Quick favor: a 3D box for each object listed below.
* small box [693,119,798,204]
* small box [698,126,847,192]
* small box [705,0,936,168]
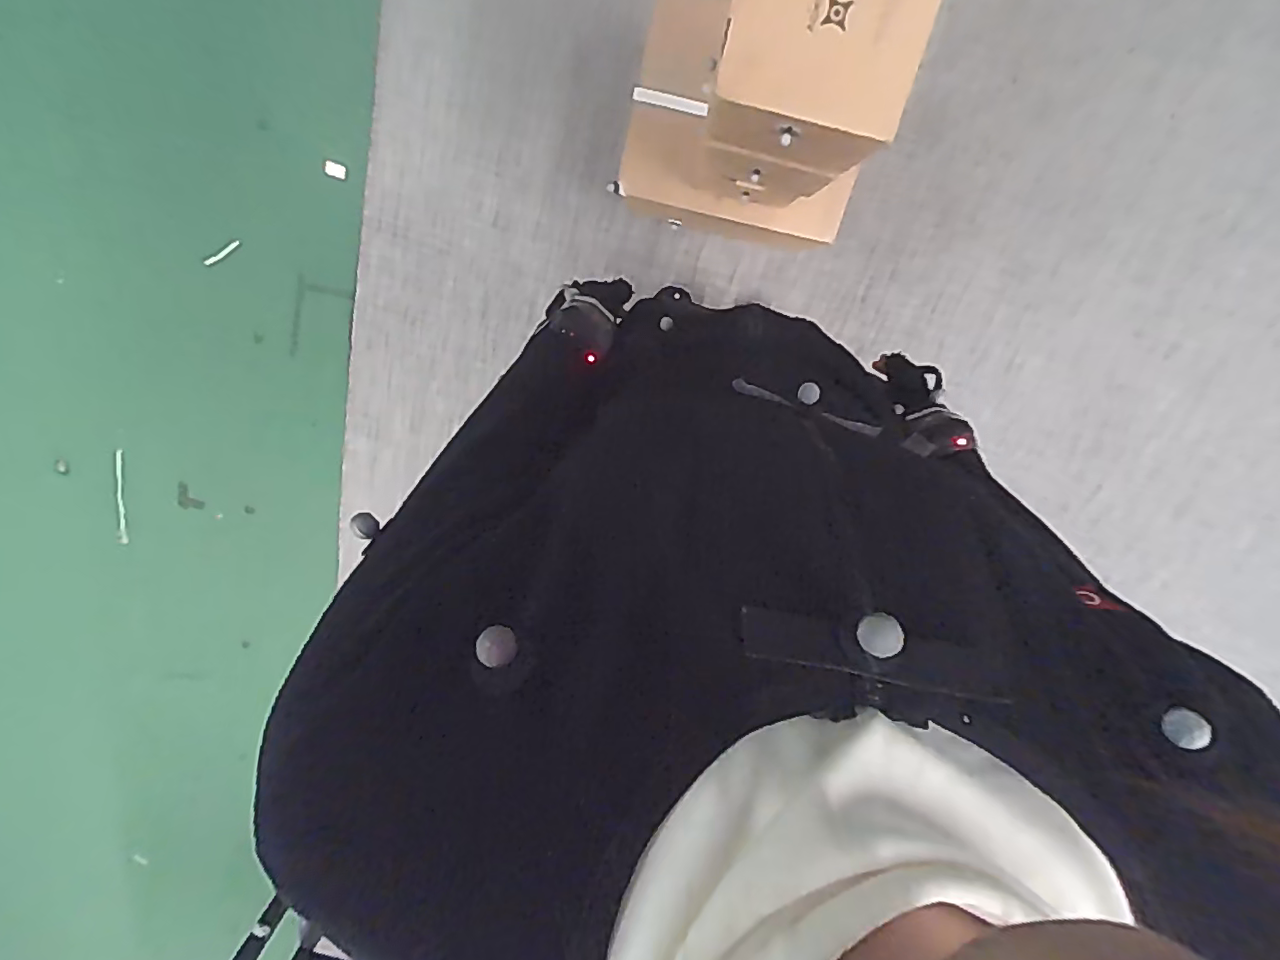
[{"bbox_3d":[0.185,-0.550,0.851,0.168,0.176,0.179,13,111,0],"label":"small box"},{"bbox_3d":[0.179,-0.485,0.700,0.179,0.176,0.168,11,111,-1],"label":"small box"},{"bbox_3d":[0.170,-0.435,0.546,0.179,0.176,0.168,14,112,-2],"label":"small box"}]
